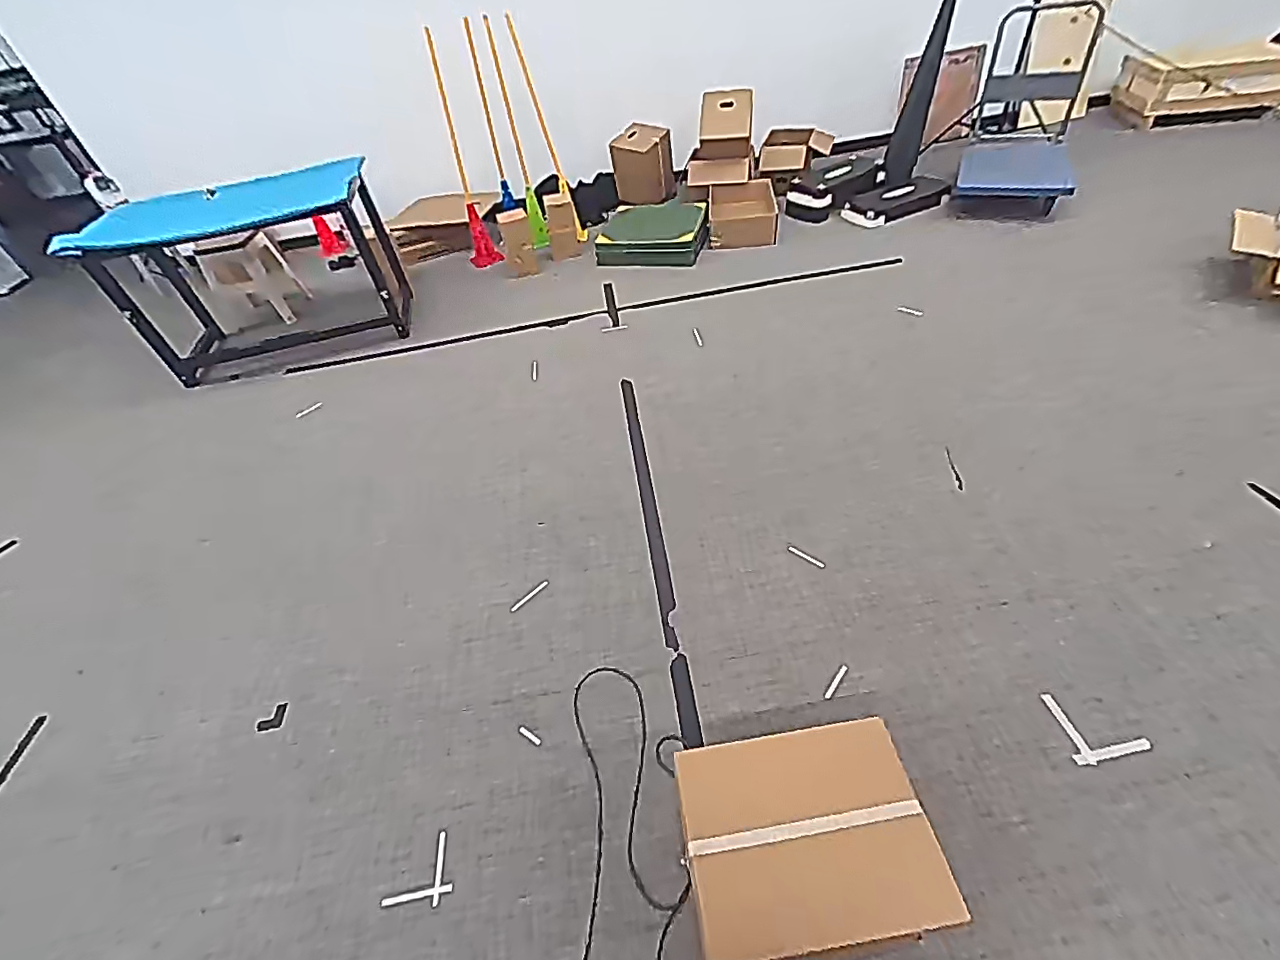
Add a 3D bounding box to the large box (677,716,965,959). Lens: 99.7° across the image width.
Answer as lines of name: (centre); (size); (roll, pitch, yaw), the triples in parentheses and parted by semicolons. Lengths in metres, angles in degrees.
large box: (0.300, 0.694, 1.028); (0.408, 0.320, 0.320); (-10, 45, -2)
